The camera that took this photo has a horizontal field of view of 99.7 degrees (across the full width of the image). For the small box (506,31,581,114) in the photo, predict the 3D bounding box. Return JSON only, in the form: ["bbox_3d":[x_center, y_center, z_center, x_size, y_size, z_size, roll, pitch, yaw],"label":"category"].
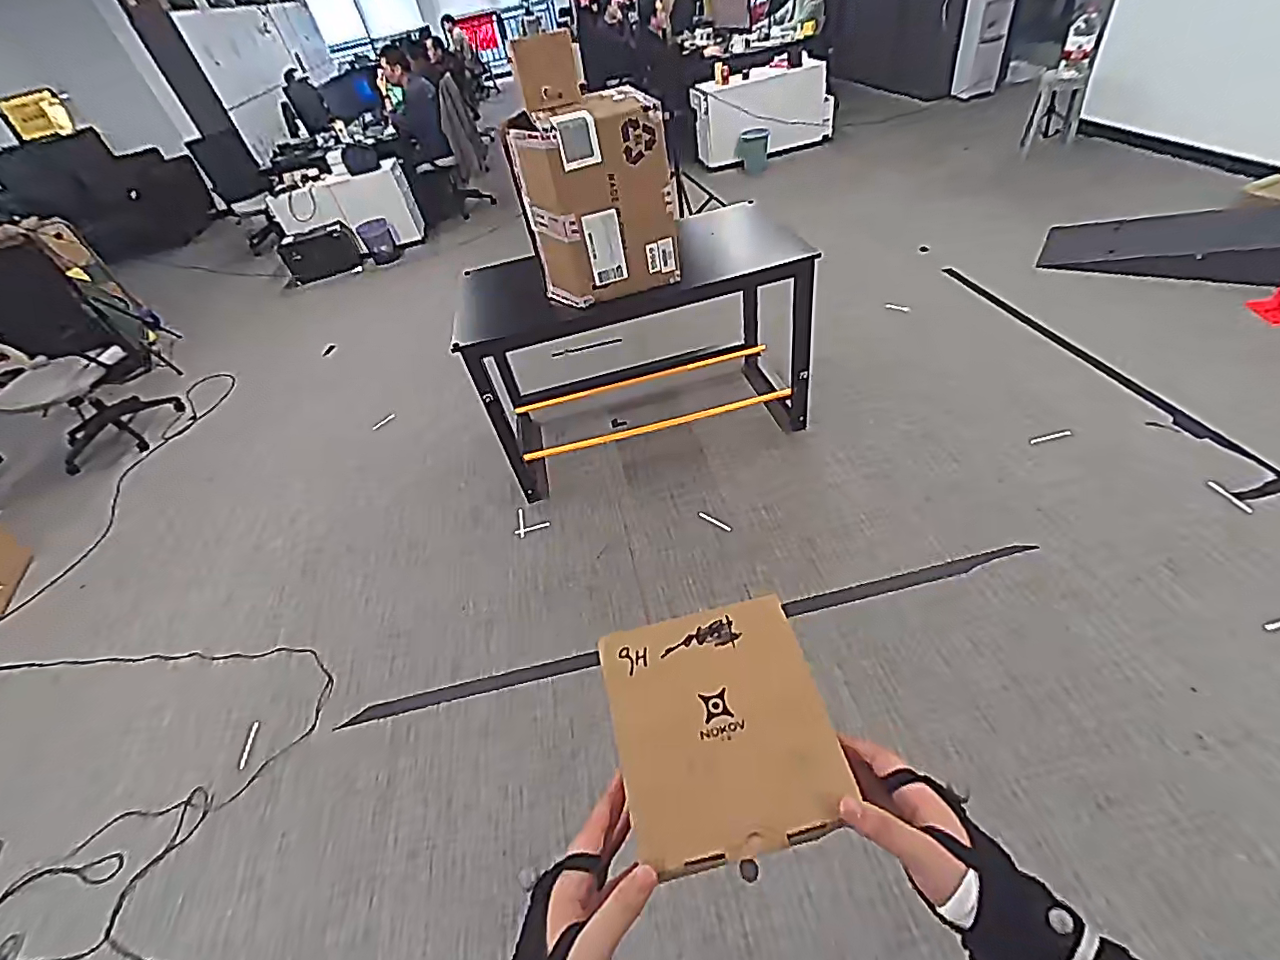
[{"bbox_3d":[-0.279,-1.181,1.571,0.168,0.176,0.179,-18,42,-6],"label":"small box"}]
